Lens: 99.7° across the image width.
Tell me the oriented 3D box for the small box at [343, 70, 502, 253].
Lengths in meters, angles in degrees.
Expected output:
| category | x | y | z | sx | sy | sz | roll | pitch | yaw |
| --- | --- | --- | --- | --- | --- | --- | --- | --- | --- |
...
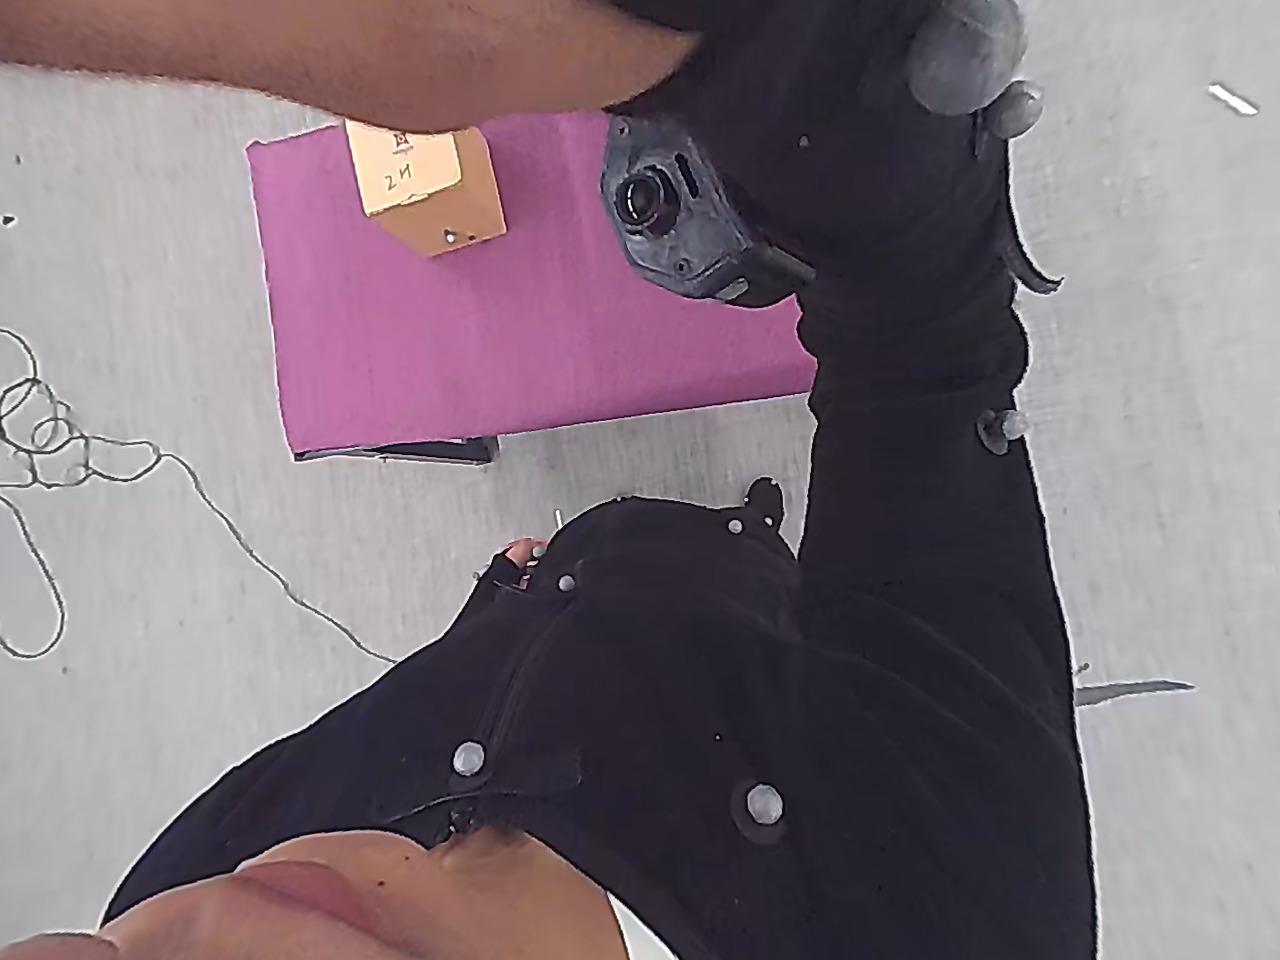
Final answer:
| category | x | y | z | sx | sy | sz | roll | pitch | yaw |
| --- | --- | --- | --- | --- | --- | --- | --- | --- | --- |
| small box | -0.347 | -0.509 | 0.889 | 0.168 | 0.176 | 0.179 | -13 | 88 | 8 |
